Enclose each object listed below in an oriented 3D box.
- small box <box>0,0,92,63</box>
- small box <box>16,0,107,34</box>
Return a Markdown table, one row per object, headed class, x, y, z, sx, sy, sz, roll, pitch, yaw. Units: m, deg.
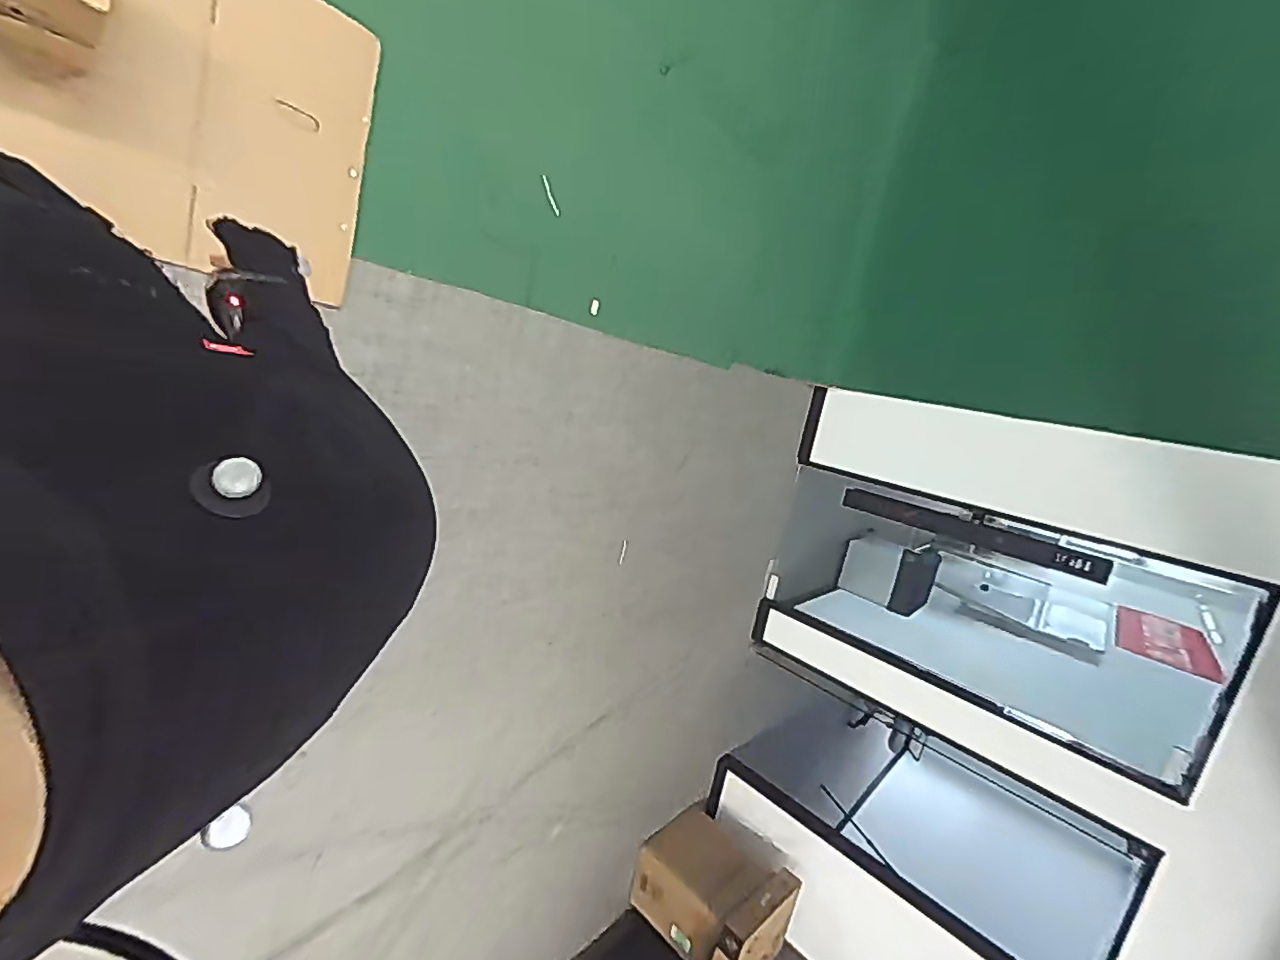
| class | x | y | z | sx | sy | sz | roll | pitch | yaw |
| --- | --- | --- | --- | --- | --- | --- | --- | --- | --- |
| small box | -0.929 | -0.774 | 0.806 | 0.168 | 0.176 | 0.179 | 6 | 100 | -49 |
| small box | -0.805 | -0.742 | 0.704 | 0.168 | 0.176 | 0.179 | 8 | 100 | -50 |
